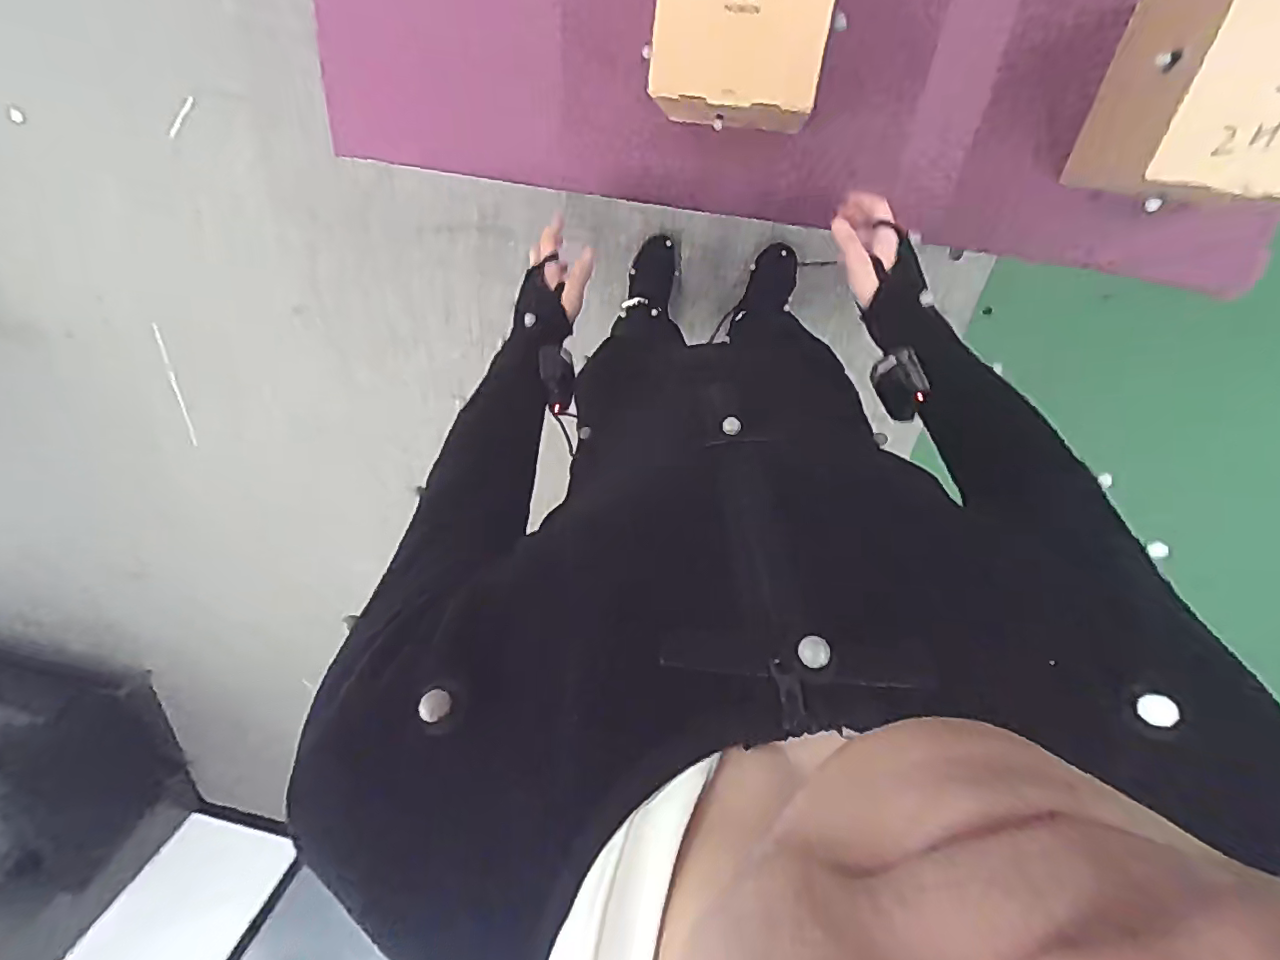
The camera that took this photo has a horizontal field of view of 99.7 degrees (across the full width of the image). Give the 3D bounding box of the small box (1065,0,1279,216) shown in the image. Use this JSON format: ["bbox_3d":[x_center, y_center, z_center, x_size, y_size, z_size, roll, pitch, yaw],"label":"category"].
[{"bbox_3d":[0.574,-0.369,0.532,0.168,0.176,0.179,13,118,7],"label":"small box"}]

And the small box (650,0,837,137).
[{"bbox_3d":[0.112,-0.484,0.574,0.168,0.176,0.179,10,119,6],"label":"small box"}]
